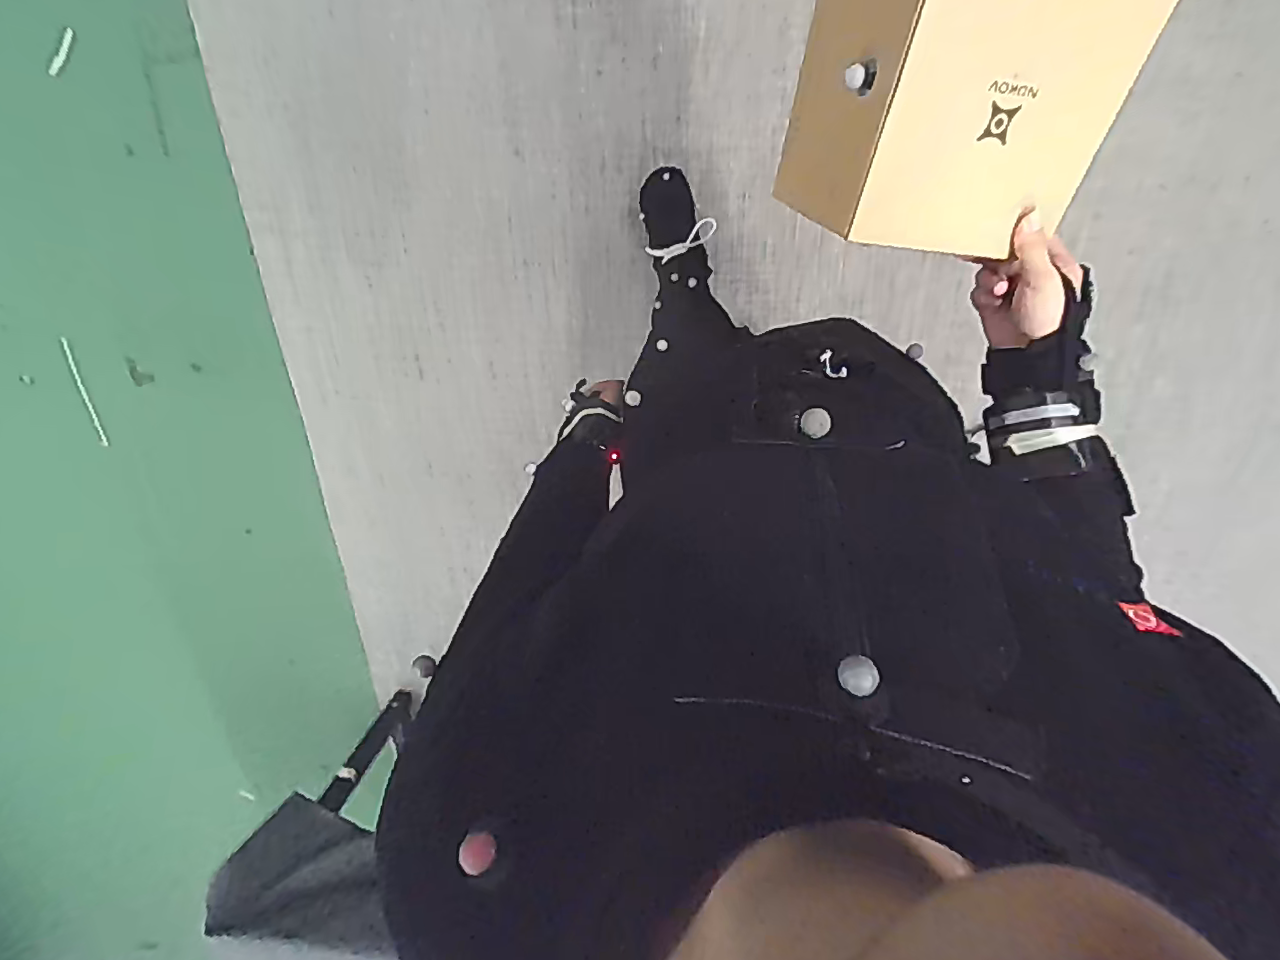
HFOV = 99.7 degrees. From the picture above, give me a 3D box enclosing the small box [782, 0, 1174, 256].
[{"bbox_3d":[0.225,-0.291,0.415,0.168,0.176,0.179,1,125,-10],"label":"small box"}]
